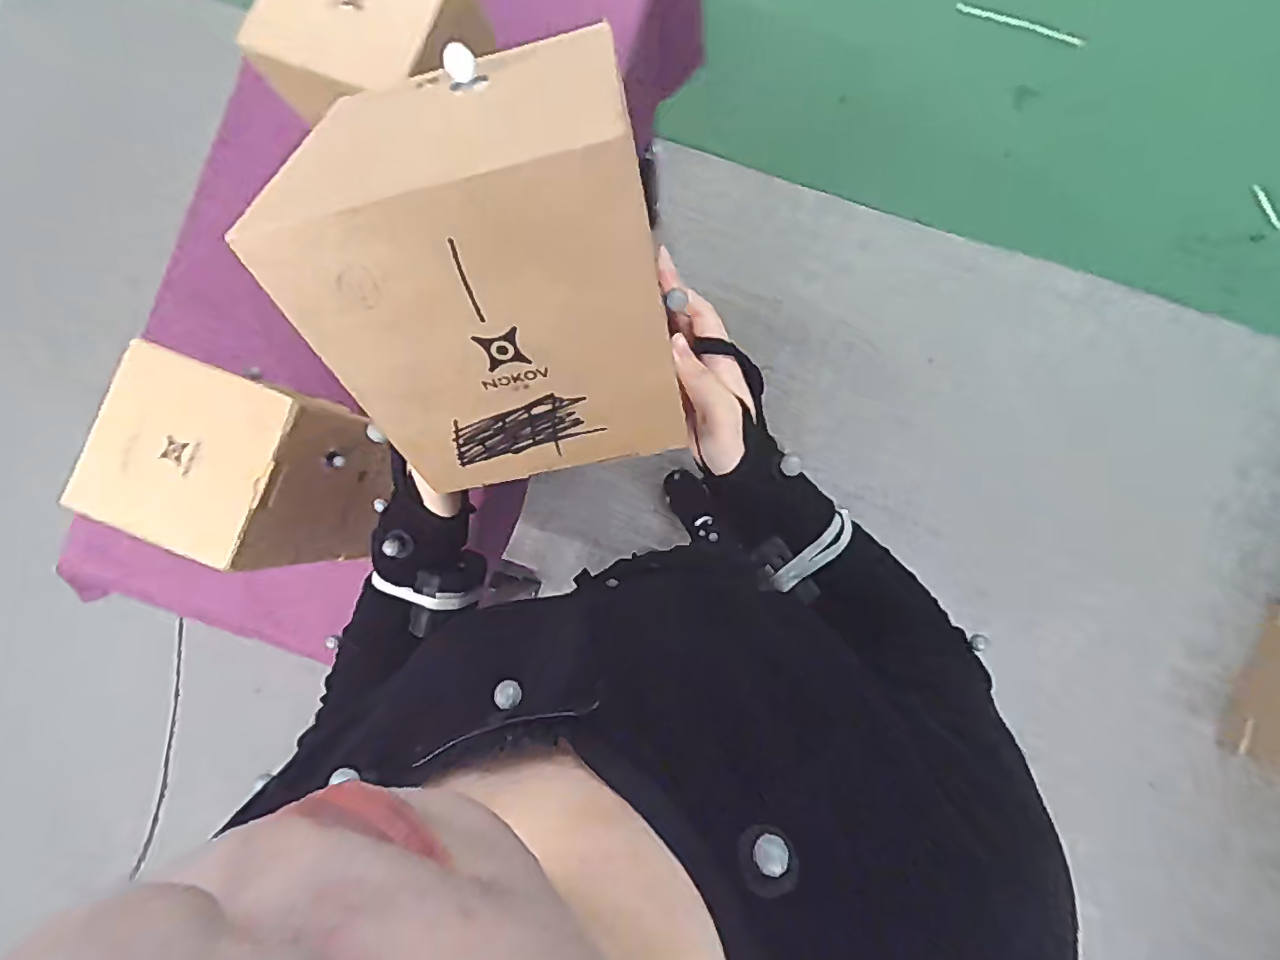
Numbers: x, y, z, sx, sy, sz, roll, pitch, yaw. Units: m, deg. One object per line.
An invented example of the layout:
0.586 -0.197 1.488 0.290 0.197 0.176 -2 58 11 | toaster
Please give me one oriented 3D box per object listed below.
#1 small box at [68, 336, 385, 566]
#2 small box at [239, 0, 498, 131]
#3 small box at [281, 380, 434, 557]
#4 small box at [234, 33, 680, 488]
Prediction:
-0.409 -0.024 0.570 0.179 0.176 0.168 21 87 6 | small box
-0.269 -0.451 0.591 0.179 0.176 0.168 23 87 5 | small box
-0.394 -0.009 0.733 0.168 0.176 0.179 20 87 5 | small box
-0.072 -0.121 0.321 0.168 0.179 0.176 -9 50 6 | small box
